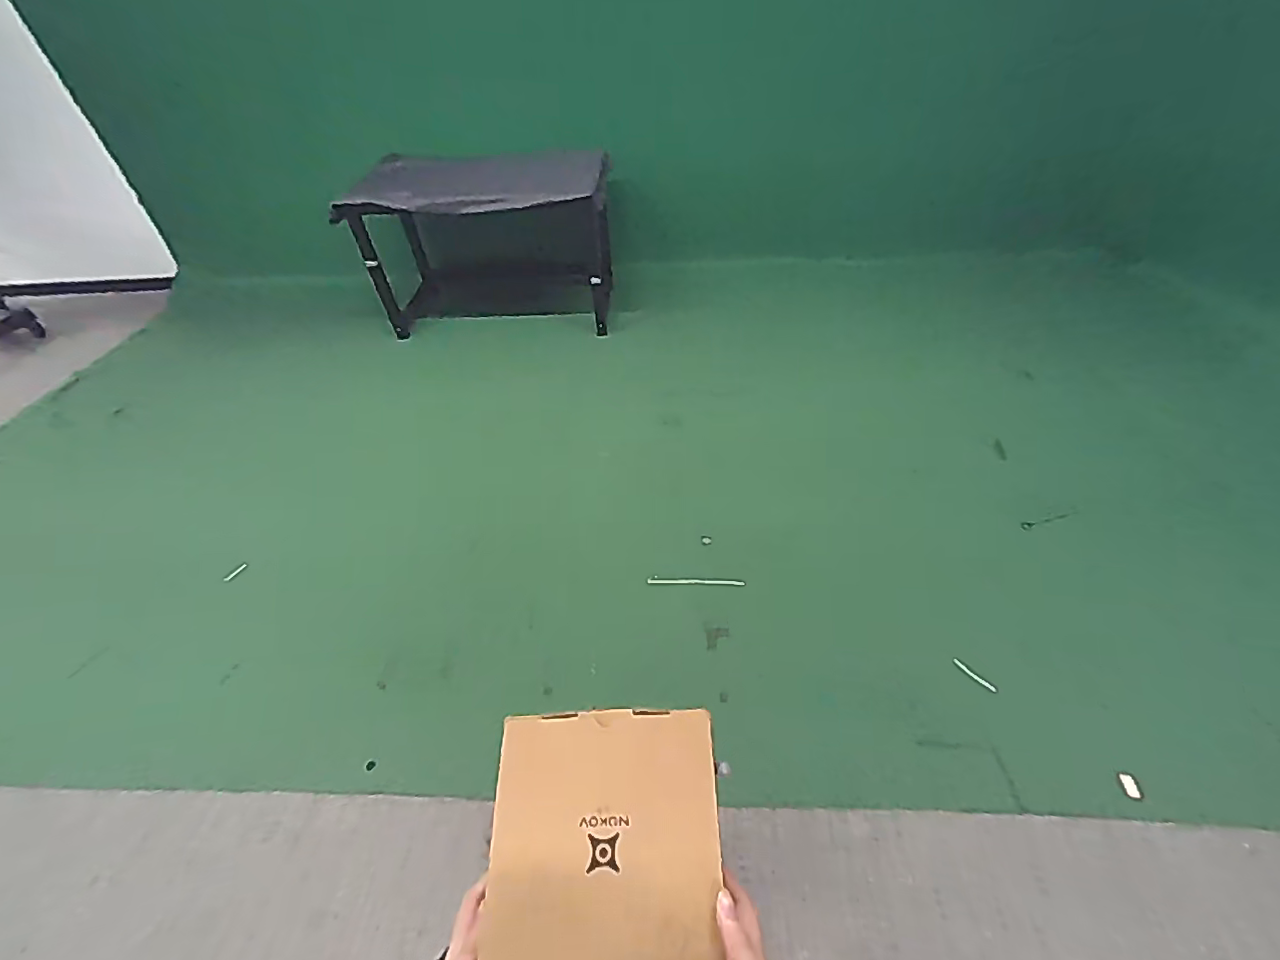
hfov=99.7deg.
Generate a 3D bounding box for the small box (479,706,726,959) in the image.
[{"bbox_3d":[-0.018,0.298,0.451,0.168,0.176,0.179,-3,56,3],"label":"small box"}]
